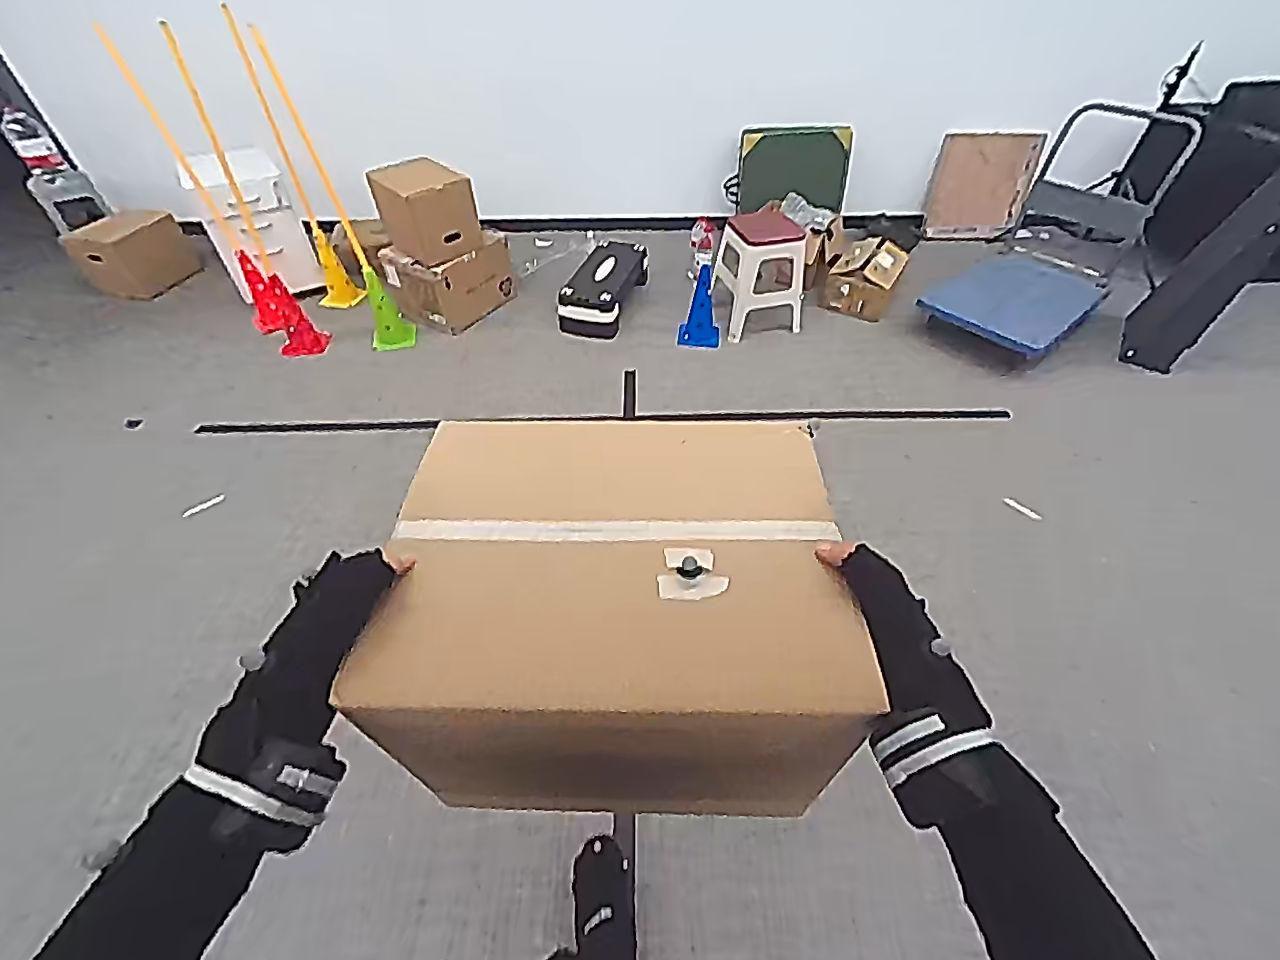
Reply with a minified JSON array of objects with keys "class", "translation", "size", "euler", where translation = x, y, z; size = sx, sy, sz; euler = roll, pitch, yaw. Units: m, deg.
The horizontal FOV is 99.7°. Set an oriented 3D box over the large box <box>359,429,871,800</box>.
[{"class":"large box","translation":[-0.019,0.155,0.621],"size":[0.408,0.320,0.320],"euler":[1,47,1]}]
